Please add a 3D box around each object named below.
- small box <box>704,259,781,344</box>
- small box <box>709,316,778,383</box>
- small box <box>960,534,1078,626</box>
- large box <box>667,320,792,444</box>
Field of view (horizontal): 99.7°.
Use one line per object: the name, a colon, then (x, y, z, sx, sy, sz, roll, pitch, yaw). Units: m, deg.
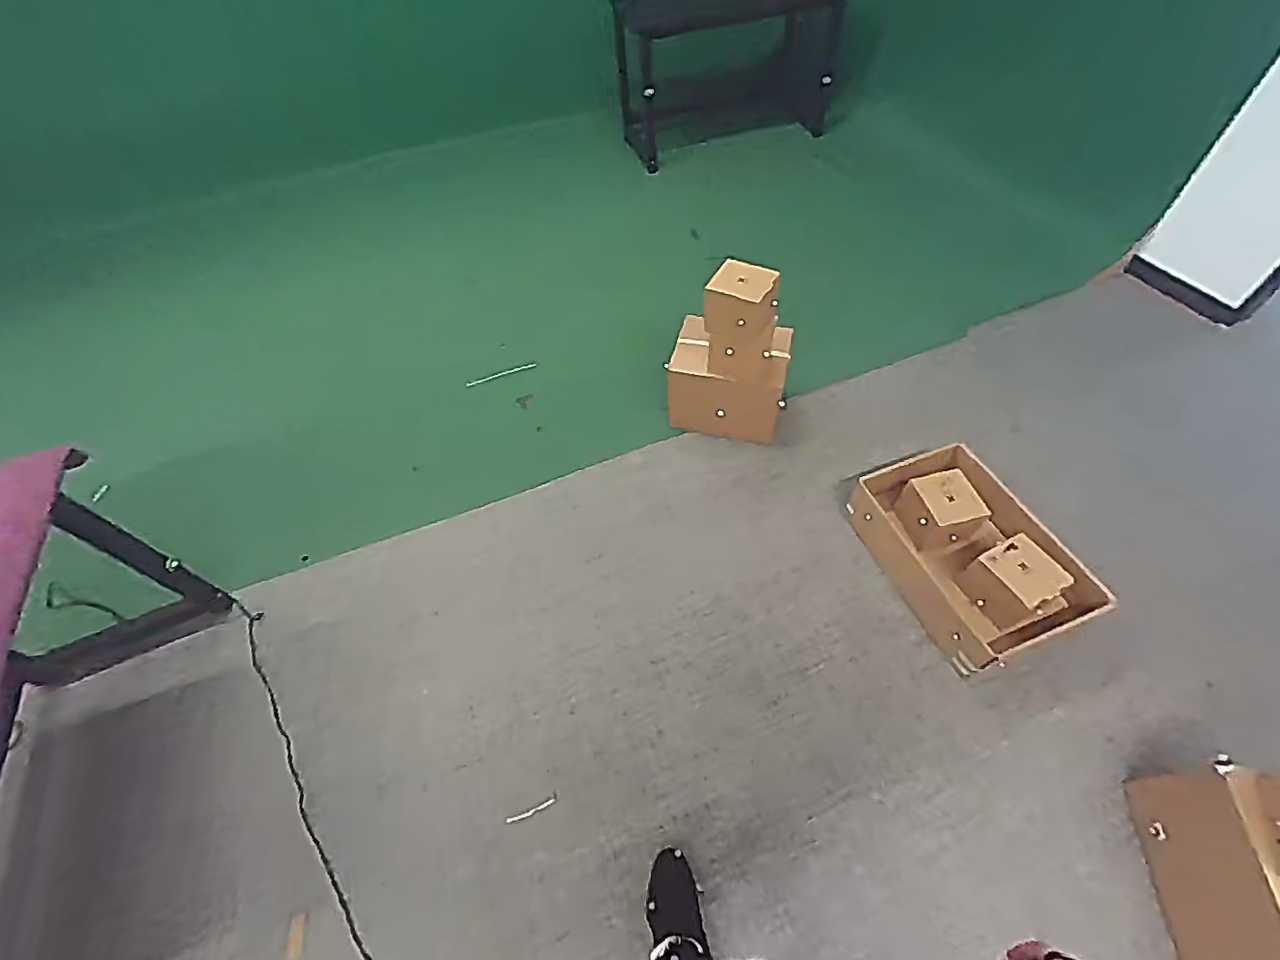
small box: (0.312, -0.545, 1.668, 0.179, 0.176, 0.168, 24, 61, 21)
small box: (0.340, -0.449, 1.798, 0.179, 0.176, 0.168, 20, 60, 19)
small box: (1.050, 0.289, 1.513, 0.168, 0.176, 0.179, -24, 56, -11)
large box: (0.337, -0.366, 2.040, 0.408, 0.320, 0.320, 10, 55, 13)
